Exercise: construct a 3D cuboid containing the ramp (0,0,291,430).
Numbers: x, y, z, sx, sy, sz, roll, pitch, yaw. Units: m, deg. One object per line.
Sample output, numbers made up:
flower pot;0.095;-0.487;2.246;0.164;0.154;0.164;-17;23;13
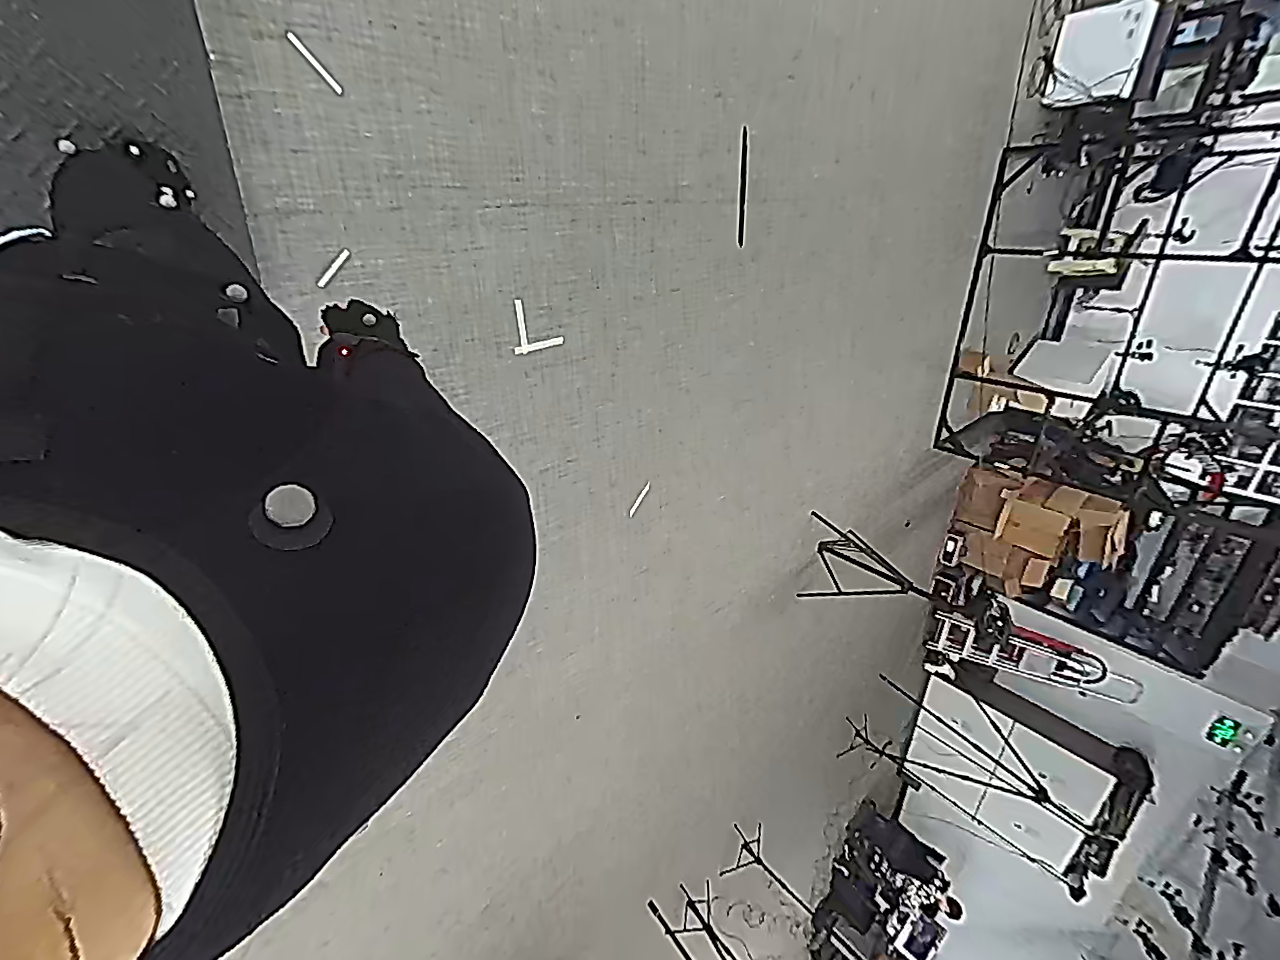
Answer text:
ramp;-0.956;-0.577;0.871;0.509;0.206;0.991;-23;123;-36
